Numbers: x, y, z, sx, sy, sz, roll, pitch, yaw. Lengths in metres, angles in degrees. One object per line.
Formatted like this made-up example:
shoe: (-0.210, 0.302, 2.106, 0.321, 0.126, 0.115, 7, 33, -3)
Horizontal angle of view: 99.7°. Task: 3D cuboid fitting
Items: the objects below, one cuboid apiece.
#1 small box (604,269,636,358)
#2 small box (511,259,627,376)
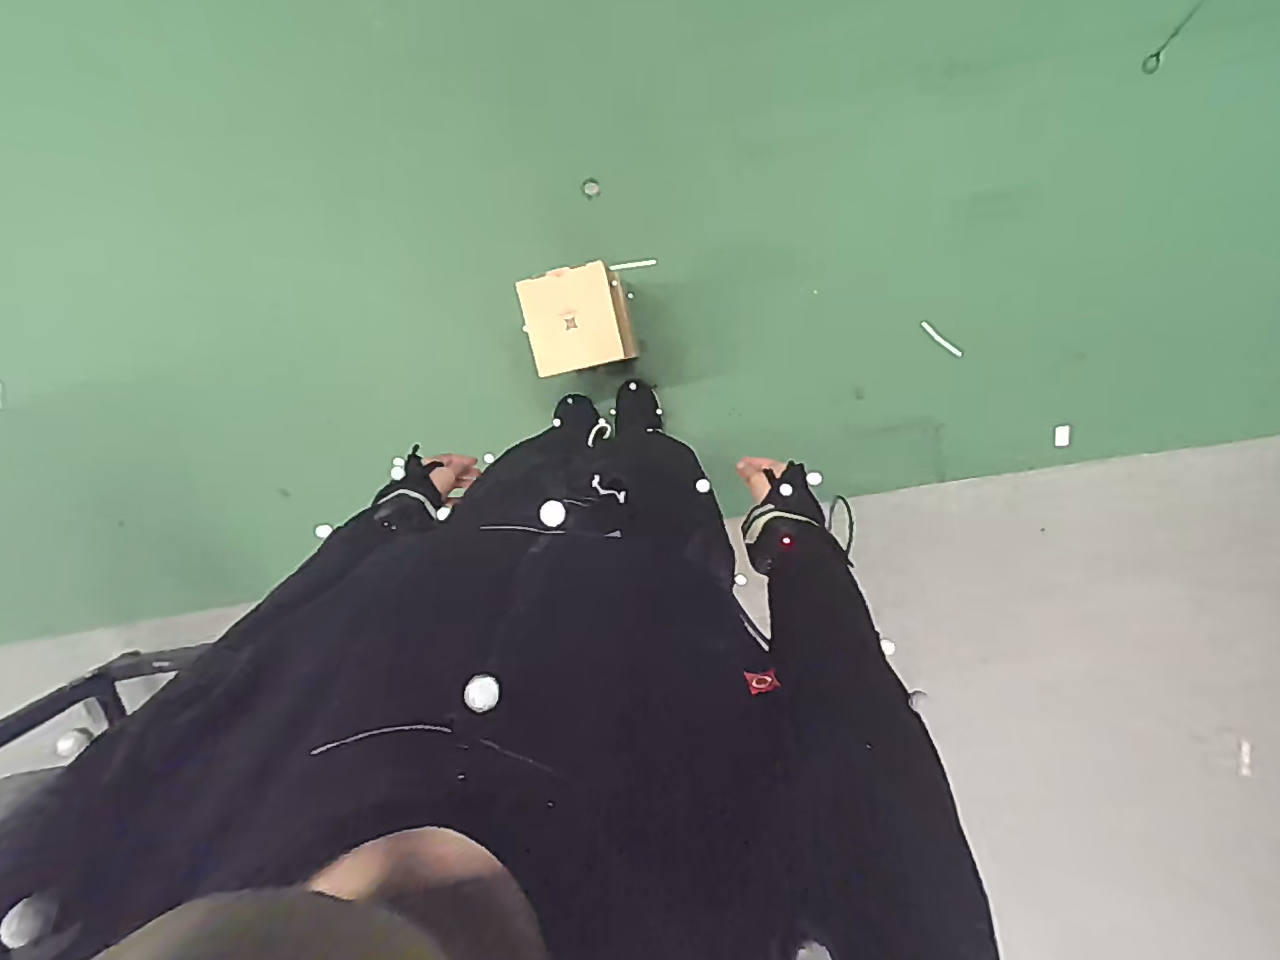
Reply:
small box: (-0.109, -0.352, 1.204, 0.168, 0.176, 0.179, -11, 103, 7)
small box: (-0.127, -0.309, 1.048, 0.168, 0.176, 0.179, -12, 101, 7)
